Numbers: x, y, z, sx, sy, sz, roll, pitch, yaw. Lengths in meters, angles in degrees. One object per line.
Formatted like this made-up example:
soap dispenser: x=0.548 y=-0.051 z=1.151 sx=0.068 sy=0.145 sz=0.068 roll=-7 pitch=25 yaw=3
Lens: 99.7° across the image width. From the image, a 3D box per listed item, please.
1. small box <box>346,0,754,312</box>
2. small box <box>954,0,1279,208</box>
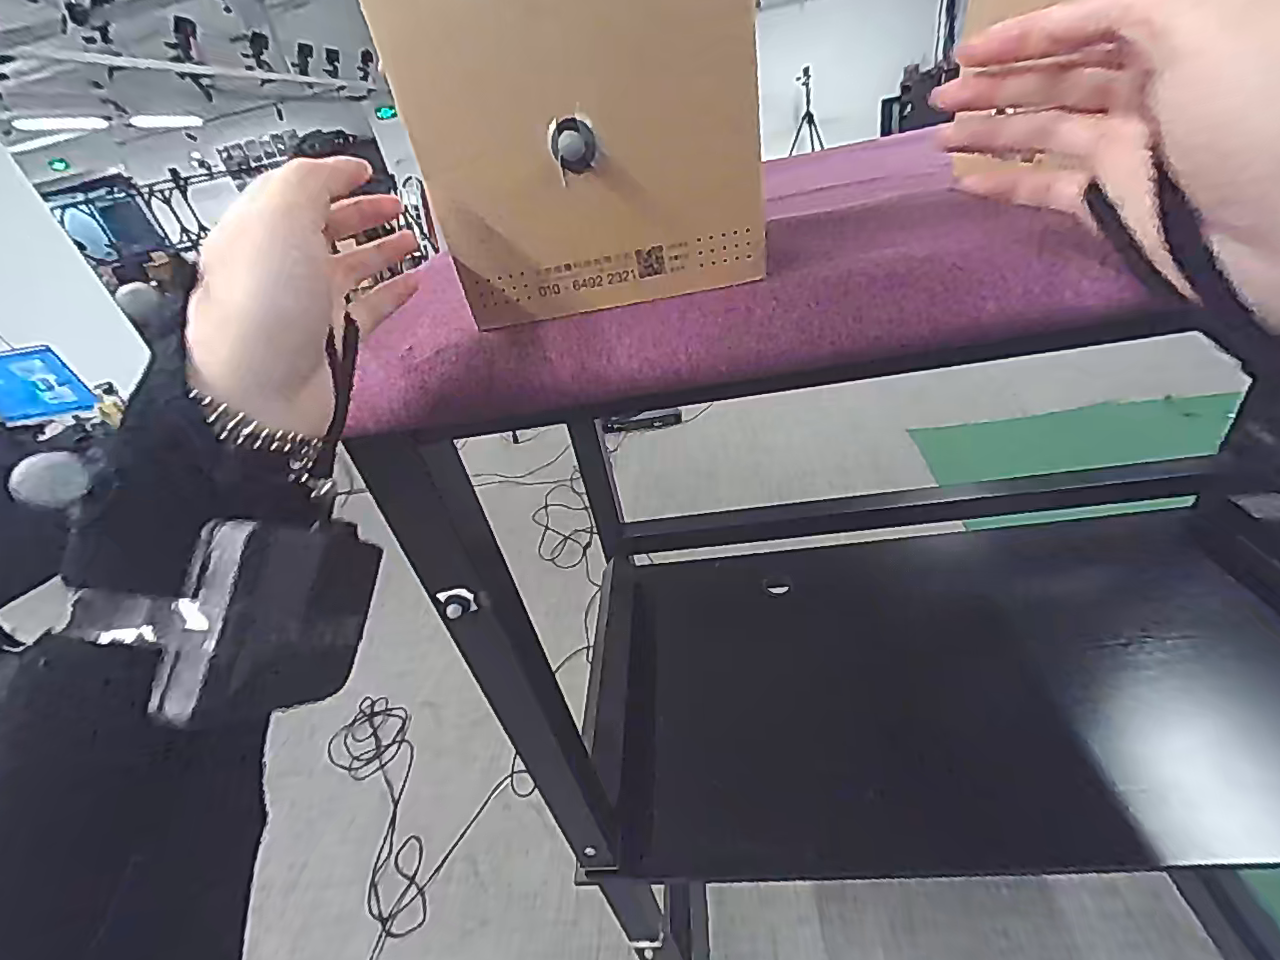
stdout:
small box: x=-0.030 y=-0.209 z=0.319 sx=0.168 sy=0.176 sz=0.179 roll=-8 pitch=35 yaw=6
small box: x=0.307 y=-0.269 z=0.300 sx=0.179 sy=0.176 sz=0.168 roll=-9 pitch=33 yaw=7
